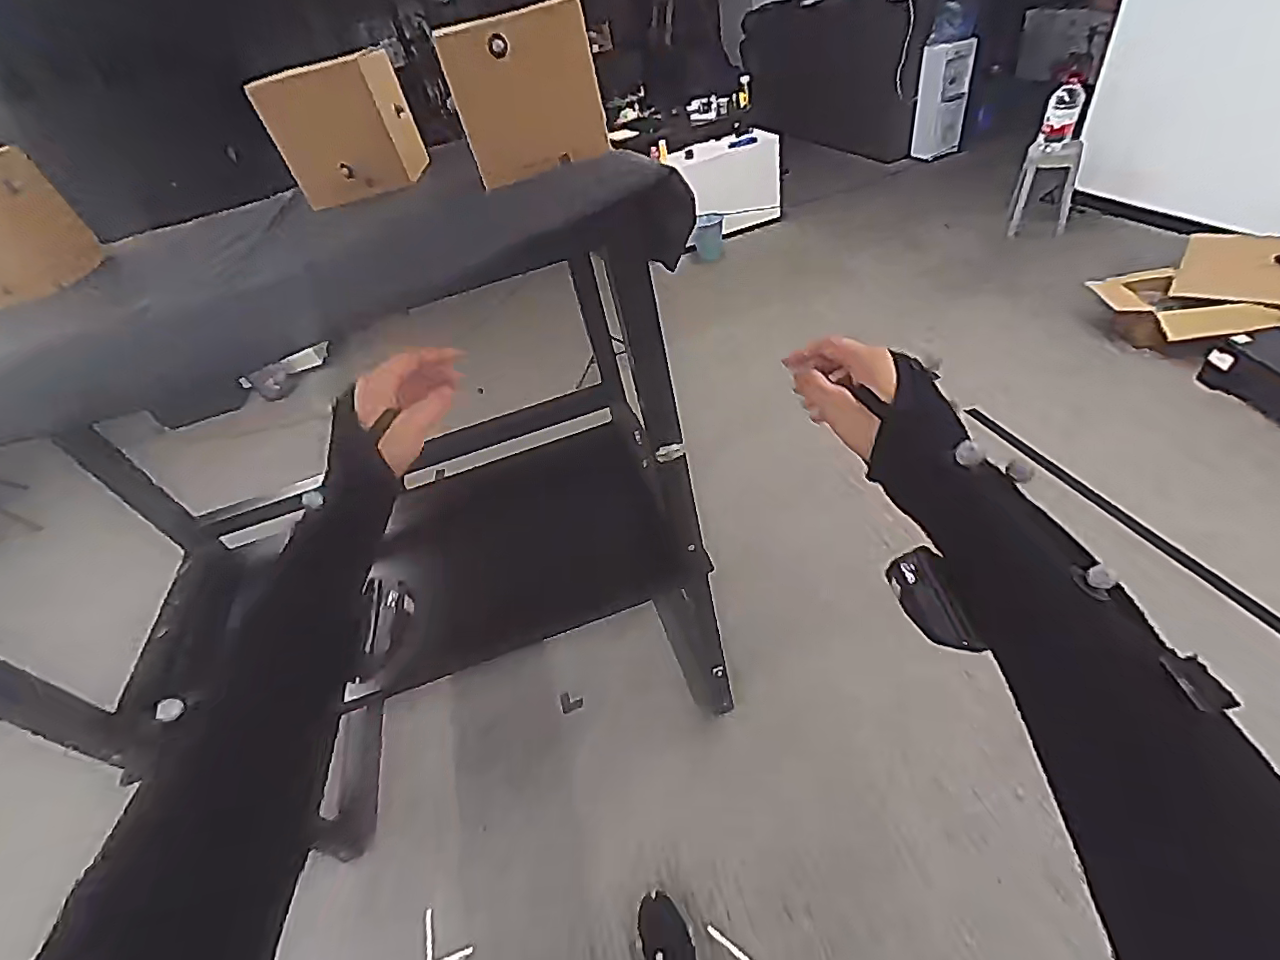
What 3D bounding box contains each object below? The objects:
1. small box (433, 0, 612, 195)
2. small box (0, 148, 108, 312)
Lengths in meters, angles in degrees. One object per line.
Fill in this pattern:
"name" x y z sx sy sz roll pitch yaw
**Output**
"small box" -0.146 -0.485 0.691 0.168 0.176 0.179 -19 41 -3
"small box" -0.952 -0.358 0.791 0.168 0.176 0.179 -21 44 -6
